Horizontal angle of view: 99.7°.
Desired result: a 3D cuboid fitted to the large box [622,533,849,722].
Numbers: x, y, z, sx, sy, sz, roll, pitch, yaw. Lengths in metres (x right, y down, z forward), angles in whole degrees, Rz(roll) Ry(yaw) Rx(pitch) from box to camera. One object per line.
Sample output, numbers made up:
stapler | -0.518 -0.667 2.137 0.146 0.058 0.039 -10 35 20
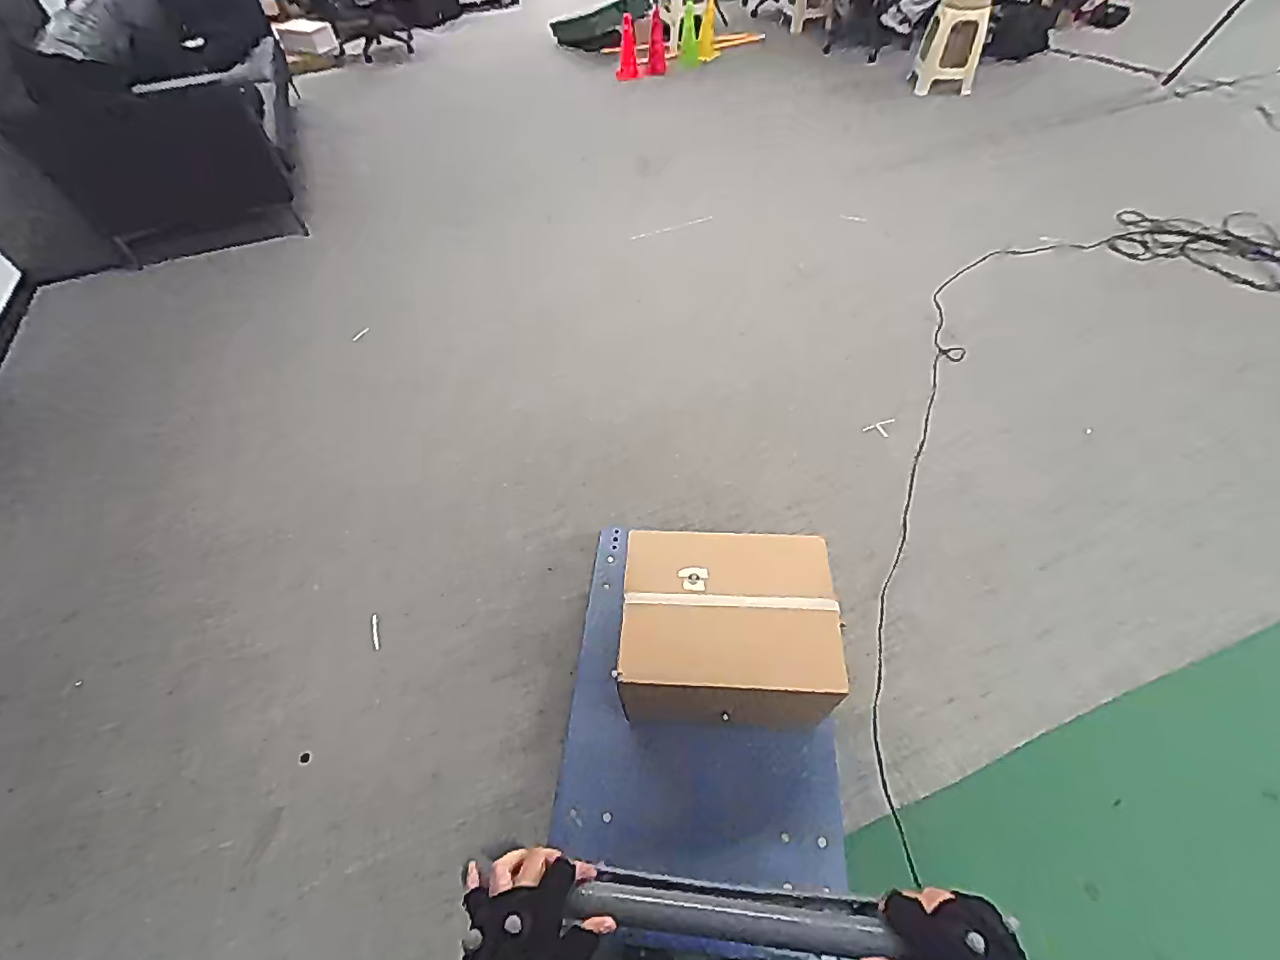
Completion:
large box | 0.182 0.322 1.156 0.408 0.320 0.320 0 53 4
